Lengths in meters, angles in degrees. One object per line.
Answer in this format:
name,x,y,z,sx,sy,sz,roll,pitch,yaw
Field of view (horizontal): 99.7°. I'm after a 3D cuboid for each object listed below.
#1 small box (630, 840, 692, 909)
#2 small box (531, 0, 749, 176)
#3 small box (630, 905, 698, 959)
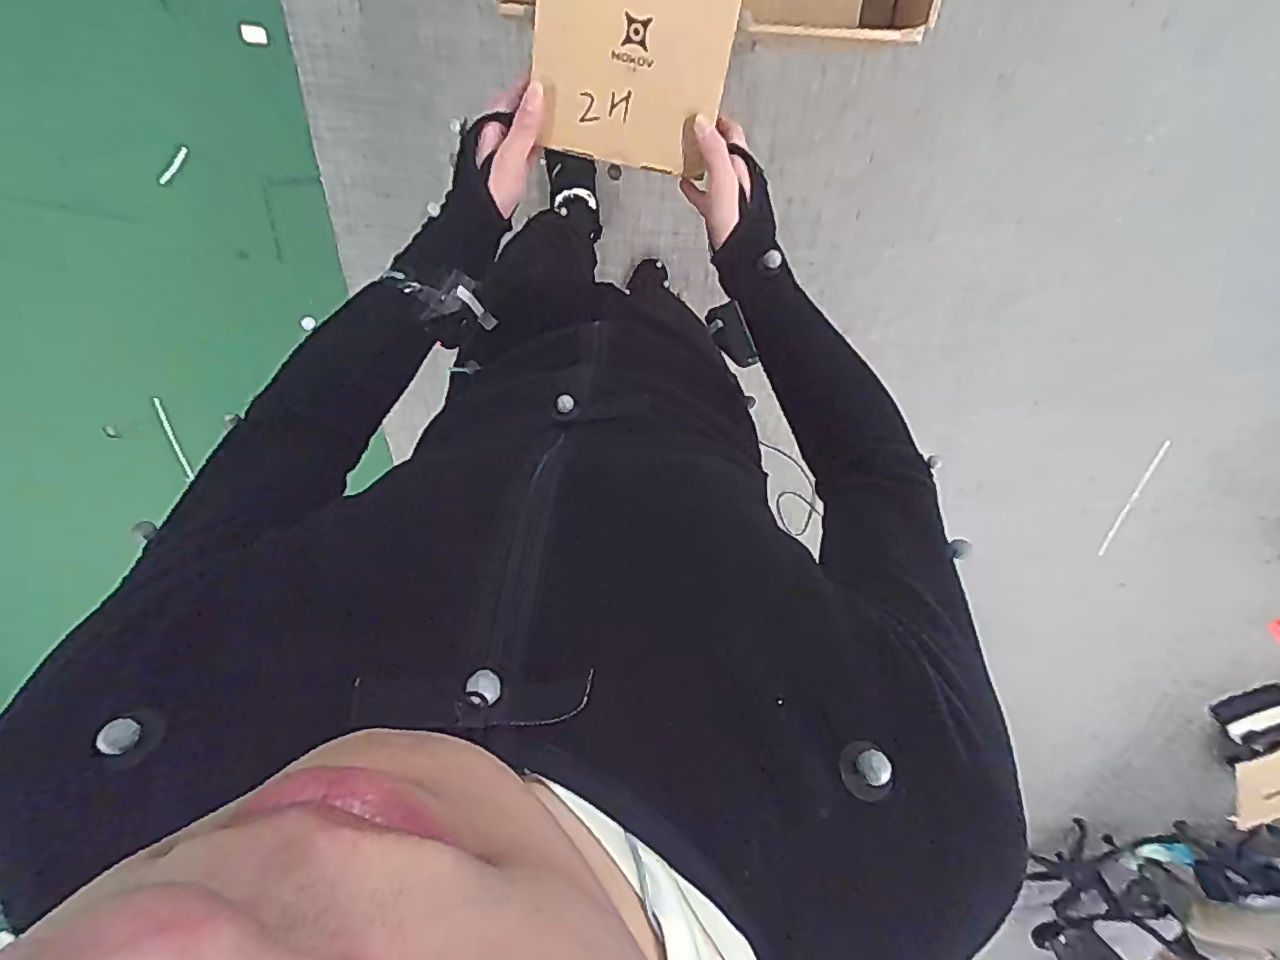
small box,0.056,1.175,1.576,0.168,0.176,0.179,-1,123,-2
small box,-0.004,-0.404,0.512,0.168,0.176,0.179,8,120,-8
small box,0.062,1.260,1.437,0.179,0.176,0.168,-1,122,-1
